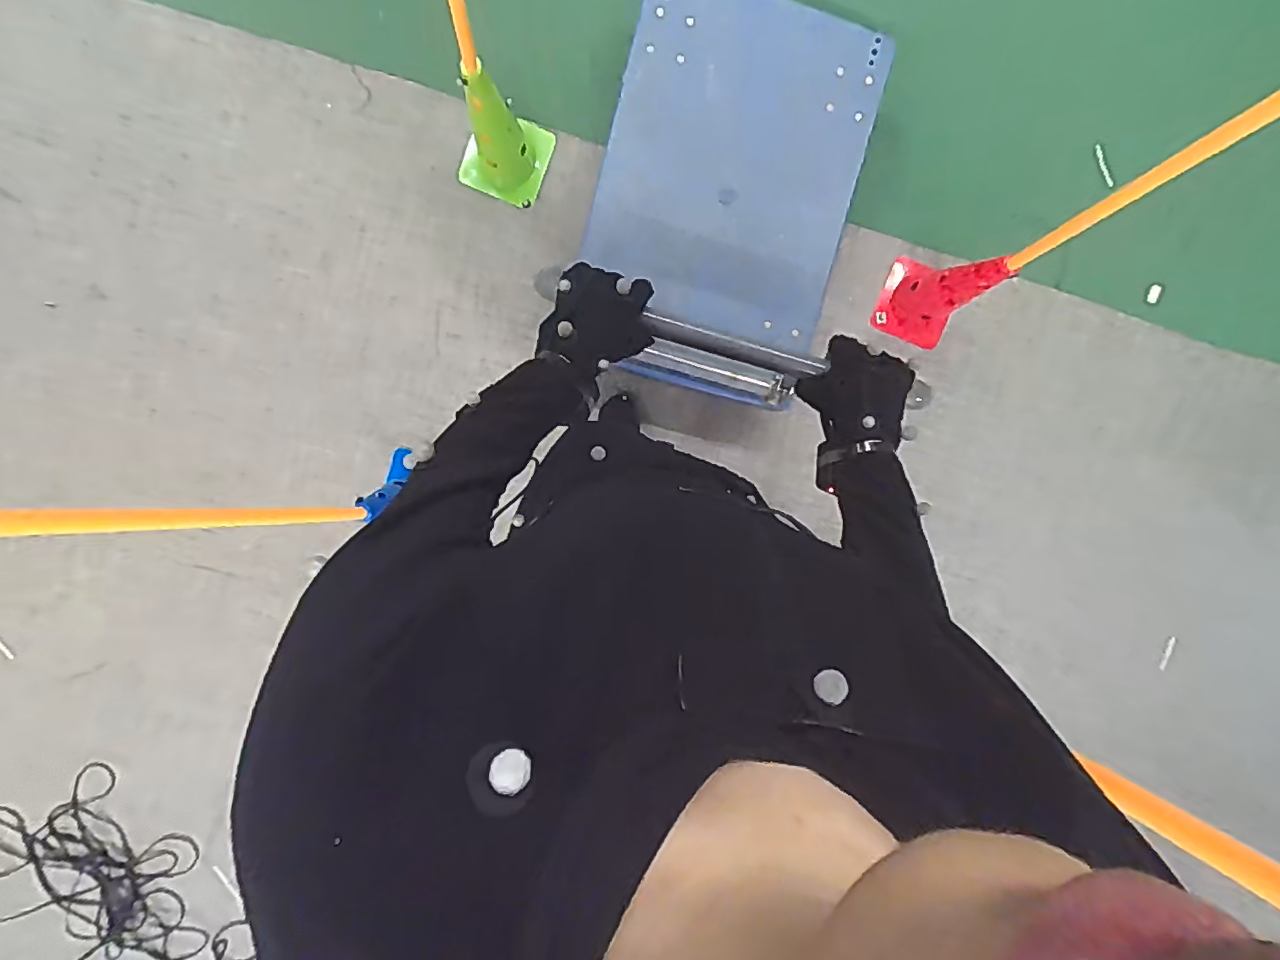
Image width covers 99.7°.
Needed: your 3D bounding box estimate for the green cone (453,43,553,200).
[{"bbox_3d":[-0.333,-0.818,1.192,0.202,0.368,0.200,20,94,-4],"label":"green cone"}]
